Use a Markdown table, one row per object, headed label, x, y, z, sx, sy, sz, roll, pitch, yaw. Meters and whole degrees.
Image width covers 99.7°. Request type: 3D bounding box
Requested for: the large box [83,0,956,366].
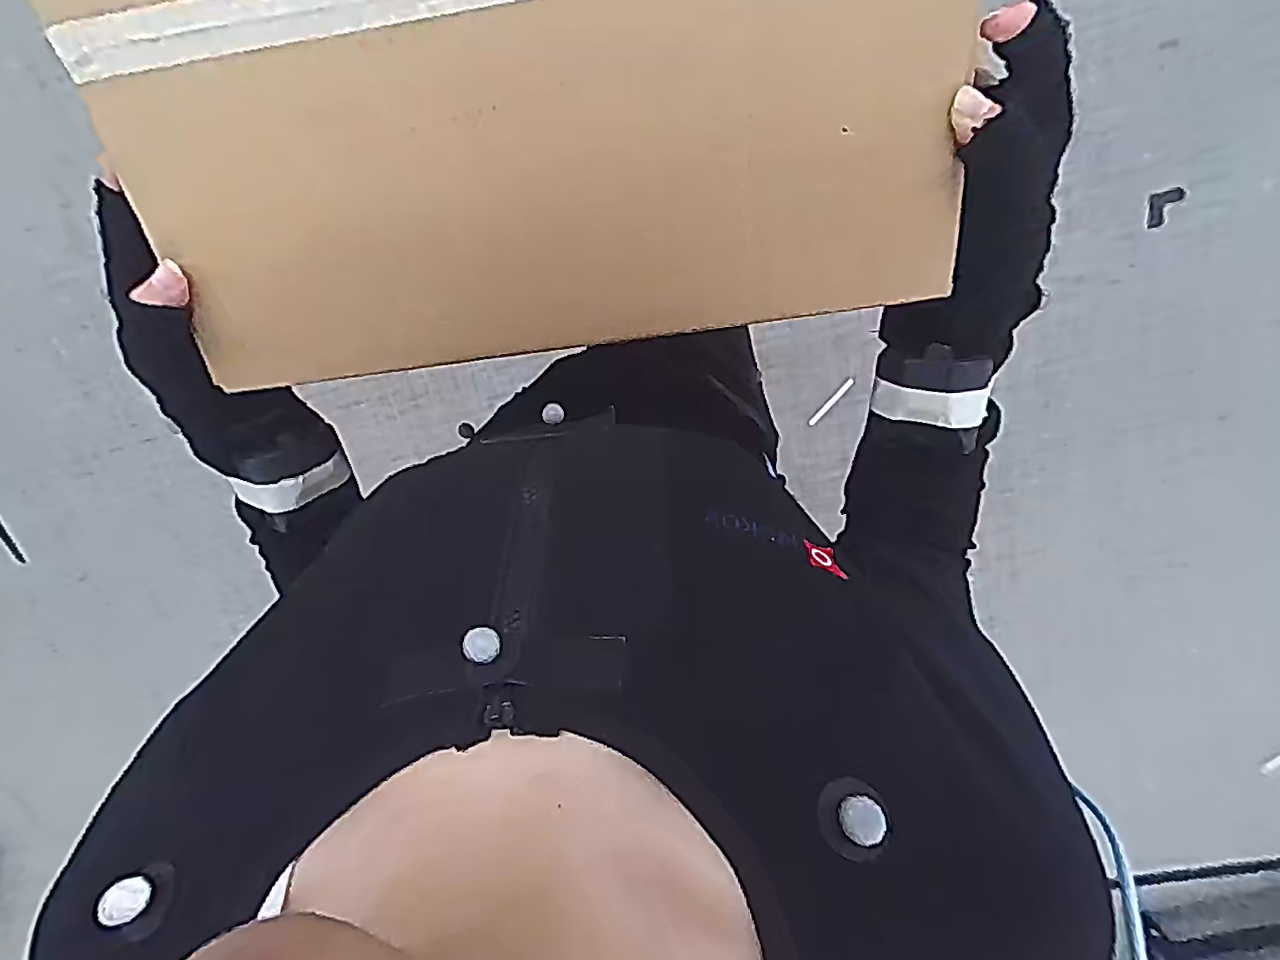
| label | x | y | z | sx | sy | sz | roll | pitch | yaw |
| --- | --- | --- | --- | --- | --- | --- | --- | --- | --- |
| large box | -0.058 | -0.290 | 0.377 | 0.408 | 0.320 | 0.320 | -7 | 115 | 4 |
